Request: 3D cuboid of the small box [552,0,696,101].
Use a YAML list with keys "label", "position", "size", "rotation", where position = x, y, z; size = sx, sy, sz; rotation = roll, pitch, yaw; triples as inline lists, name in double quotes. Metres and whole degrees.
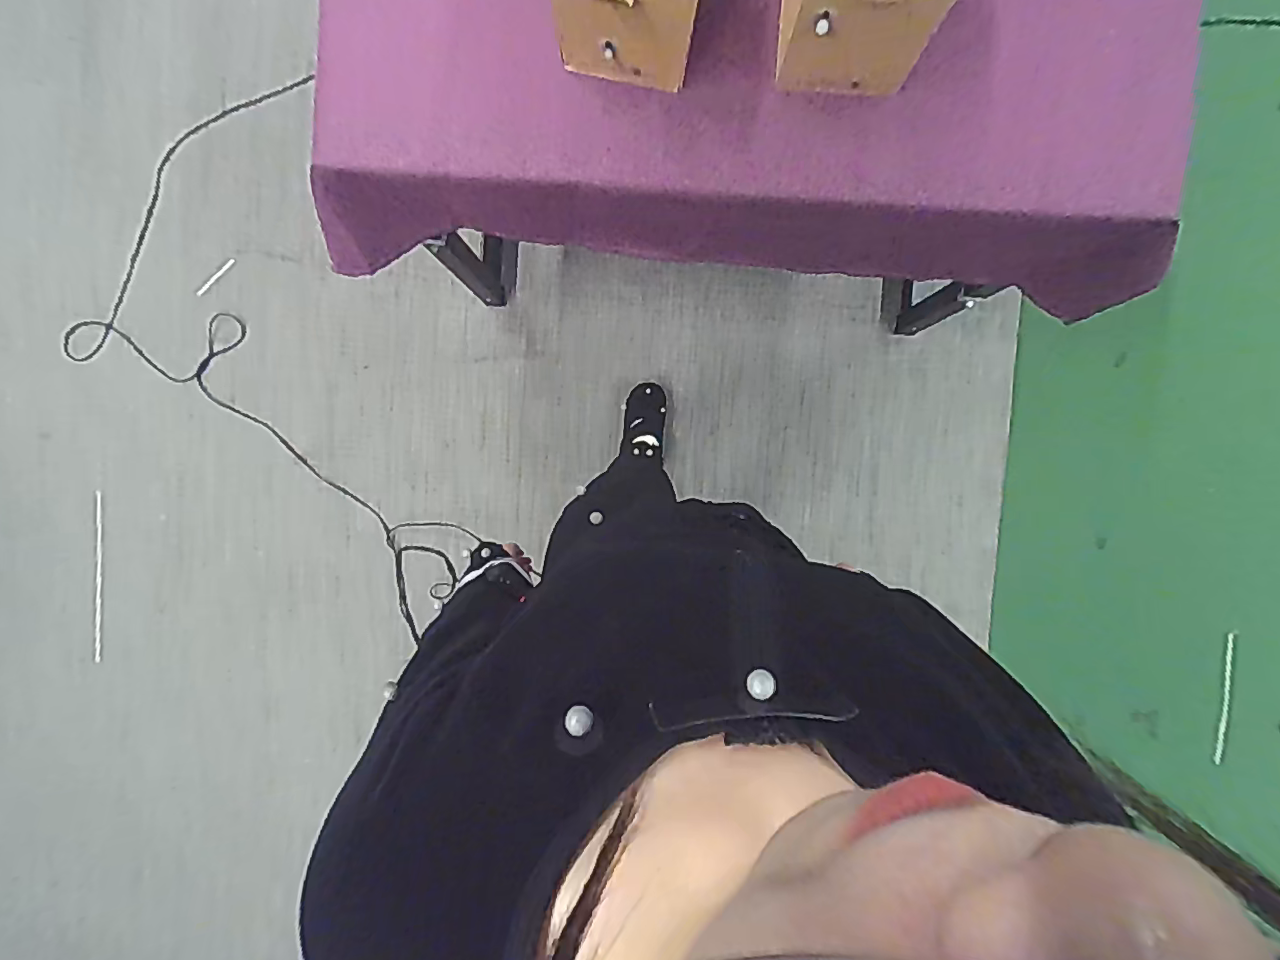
- label: "small box"
  position: [-0.014, -0.636, 0.687]
  size: [0.168, 0.176, 0.179]
  rotation: [12, 92, 1]
